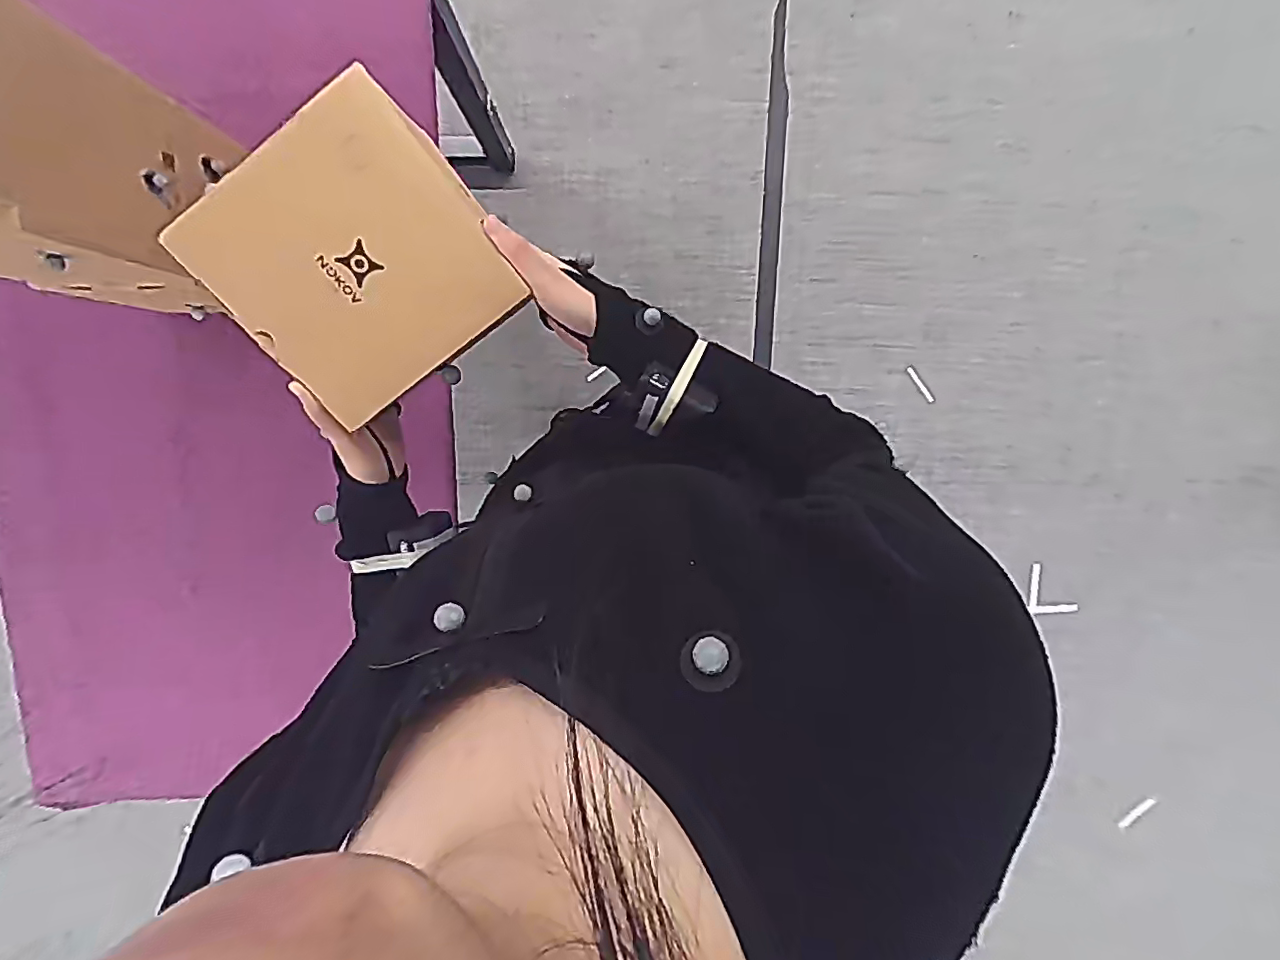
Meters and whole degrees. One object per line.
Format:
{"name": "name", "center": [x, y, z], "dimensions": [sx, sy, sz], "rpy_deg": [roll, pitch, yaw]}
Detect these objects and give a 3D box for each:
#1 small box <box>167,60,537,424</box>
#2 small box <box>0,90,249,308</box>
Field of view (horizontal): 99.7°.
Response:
{"name": "small box", "center": [-0.200, -0.178, 0.438], "dimensions": [0.179, 0.176, 0.168], "rpy_deg": [-35, 111, 7]}
{"name": "small box", "center": [-0.528, -0.296, 0.606], "dimensions": [0.168, 0.176, 0.179], "rpy_deg": [-1, 100, -1]}
